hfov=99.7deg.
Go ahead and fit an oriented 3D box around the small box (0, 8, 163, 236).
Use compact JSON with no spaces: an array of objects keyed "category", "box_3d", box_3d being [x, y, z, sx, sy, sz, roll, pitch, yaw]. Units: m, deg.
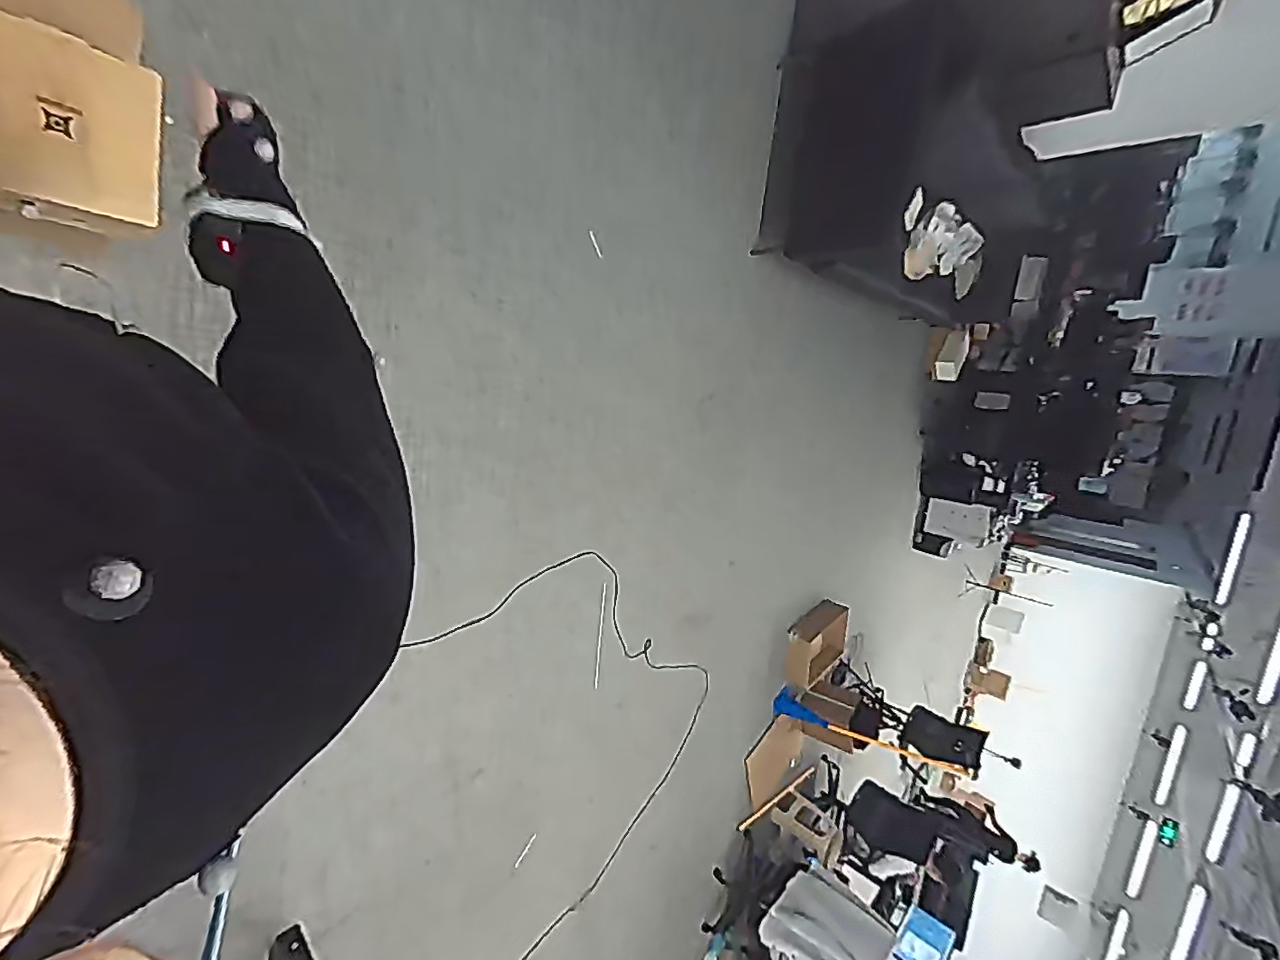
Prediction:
[{"category":"small box","box_3d":[-0.680,-0.404,0.634,0.168,0.176,0.179,-1,102,-48]}]
